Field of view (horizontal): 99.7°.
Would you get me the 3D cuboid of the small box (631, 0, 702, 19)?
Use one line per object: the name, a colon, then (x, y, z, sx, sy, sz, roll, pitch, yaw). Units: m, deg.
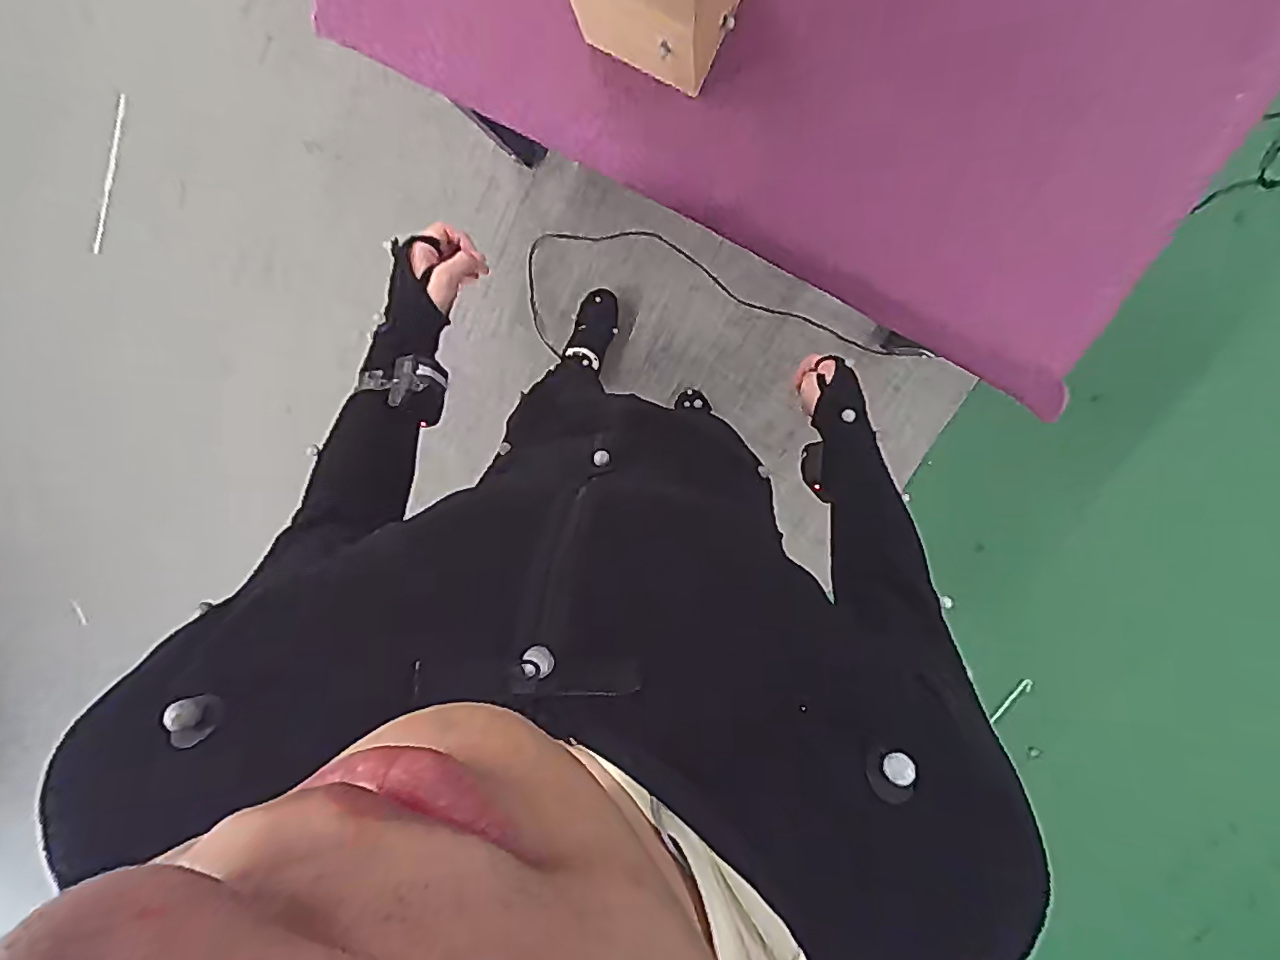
small box: (0.011, -0.583, 0.497, 0.179, 0.176, 0.168, 27, 105, 0)

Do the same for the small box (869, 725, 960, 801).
small box: (0.835, 0.906, 1.672, 0.168, 0.176, 0.179, 31, 106, -1)
